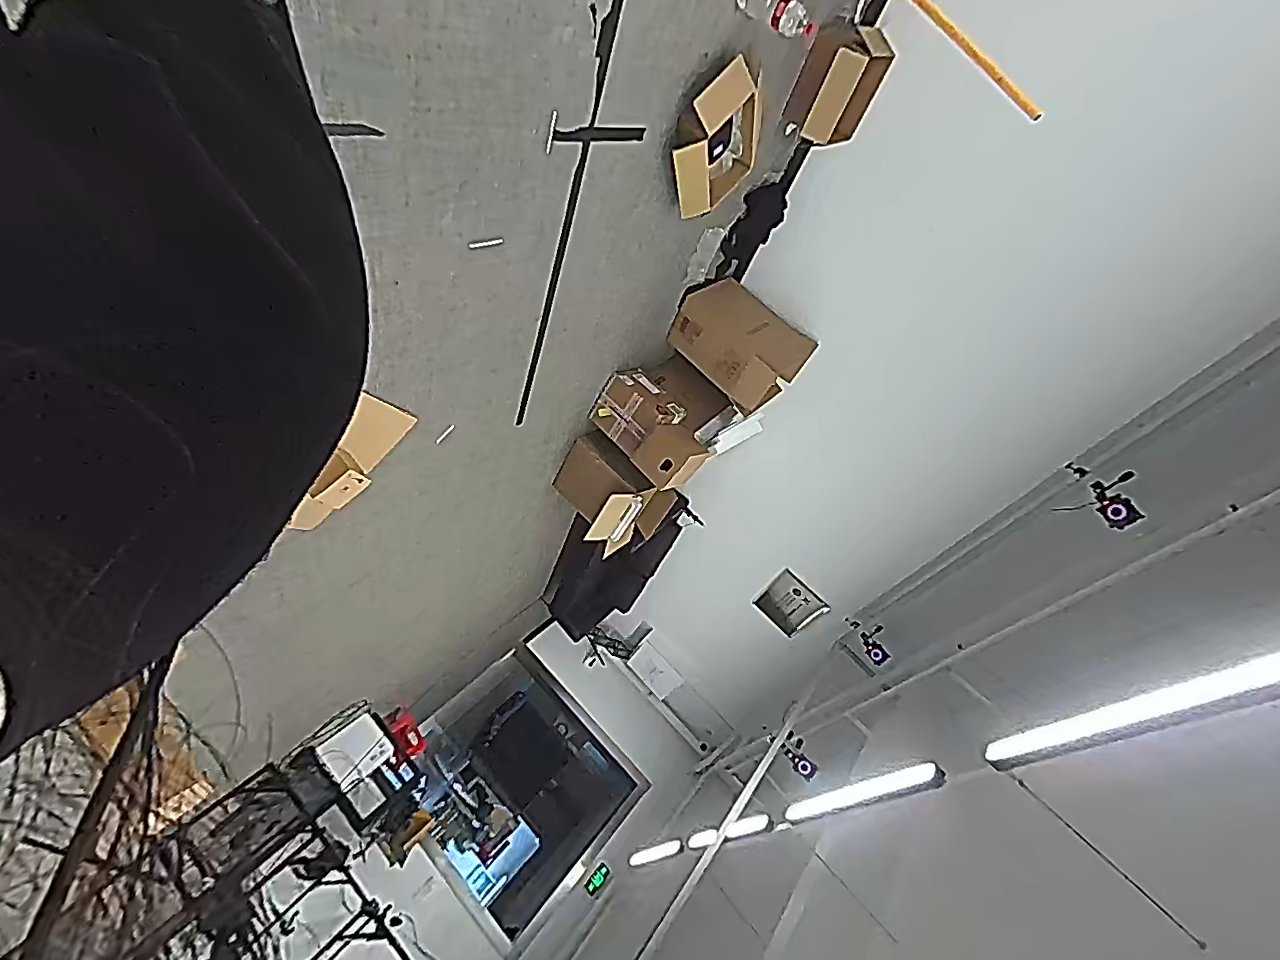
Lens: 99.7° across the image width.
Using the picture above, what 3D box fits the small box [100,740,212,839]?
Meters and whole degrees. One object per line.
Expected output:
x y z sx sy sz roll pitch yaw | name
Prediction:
-1.373 0.879 1.542 0.168 0.176 0.179 -35 162 -40 | small box

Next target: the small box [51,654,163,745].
-1.599 0.654 1.625 0.168 0.176 0.179 -35 163 -37 | small box

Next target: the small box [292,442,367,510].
-1.228 -0.014 2.127 0.179 0.176 0.168 -41 166 -11 | small box
